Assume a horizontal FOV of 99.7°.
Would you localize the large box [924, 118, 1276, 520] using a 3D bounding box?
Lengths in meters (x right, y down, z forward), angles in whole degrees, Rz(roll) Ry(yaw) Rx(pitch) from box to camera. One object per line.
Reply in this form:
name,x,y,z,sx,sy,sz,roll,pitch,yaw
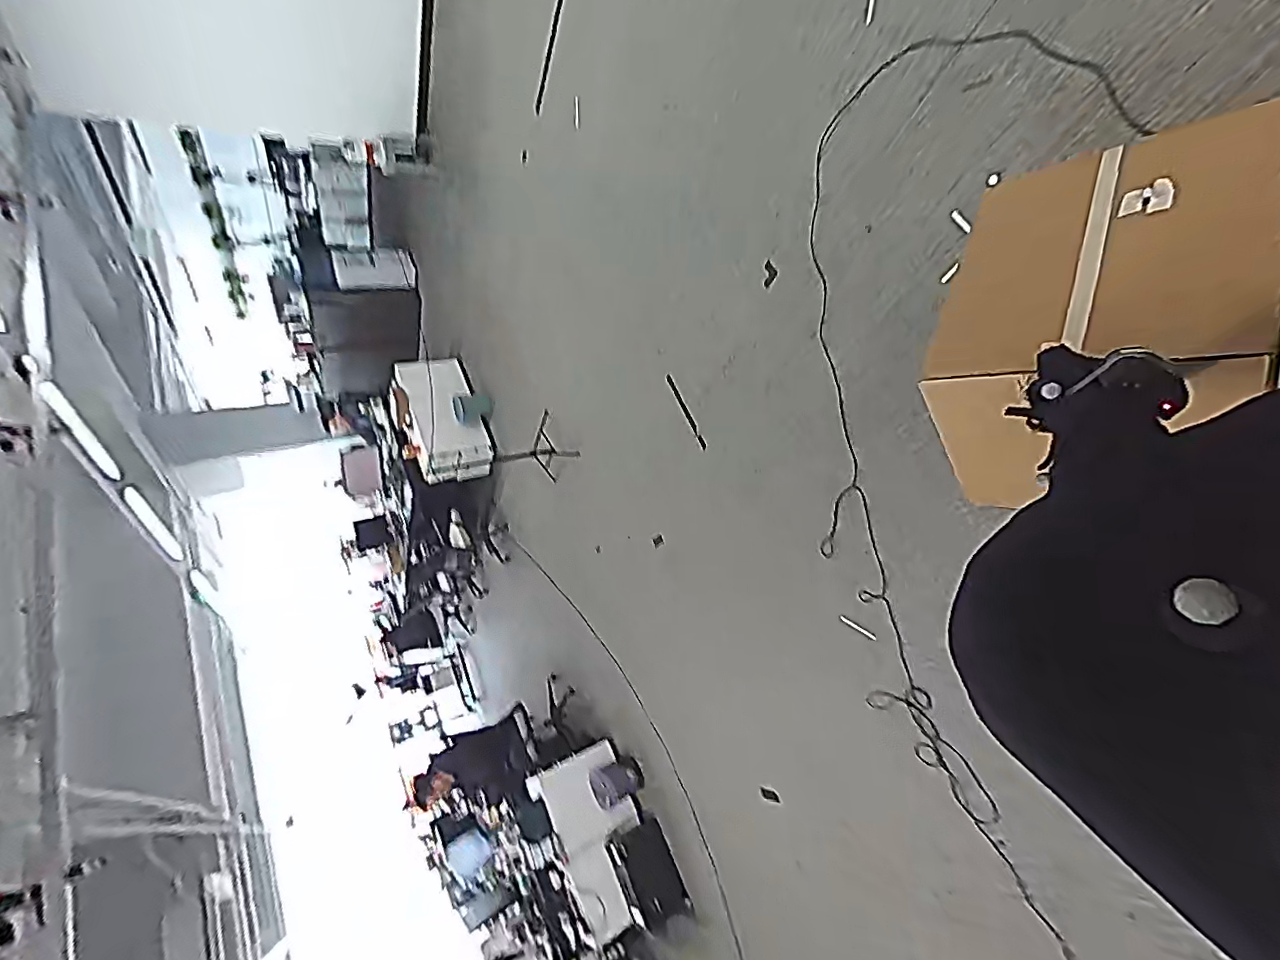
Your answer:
large box,0.656,-0.194,0.770,0.320,0.408,0.320,5,148,47
